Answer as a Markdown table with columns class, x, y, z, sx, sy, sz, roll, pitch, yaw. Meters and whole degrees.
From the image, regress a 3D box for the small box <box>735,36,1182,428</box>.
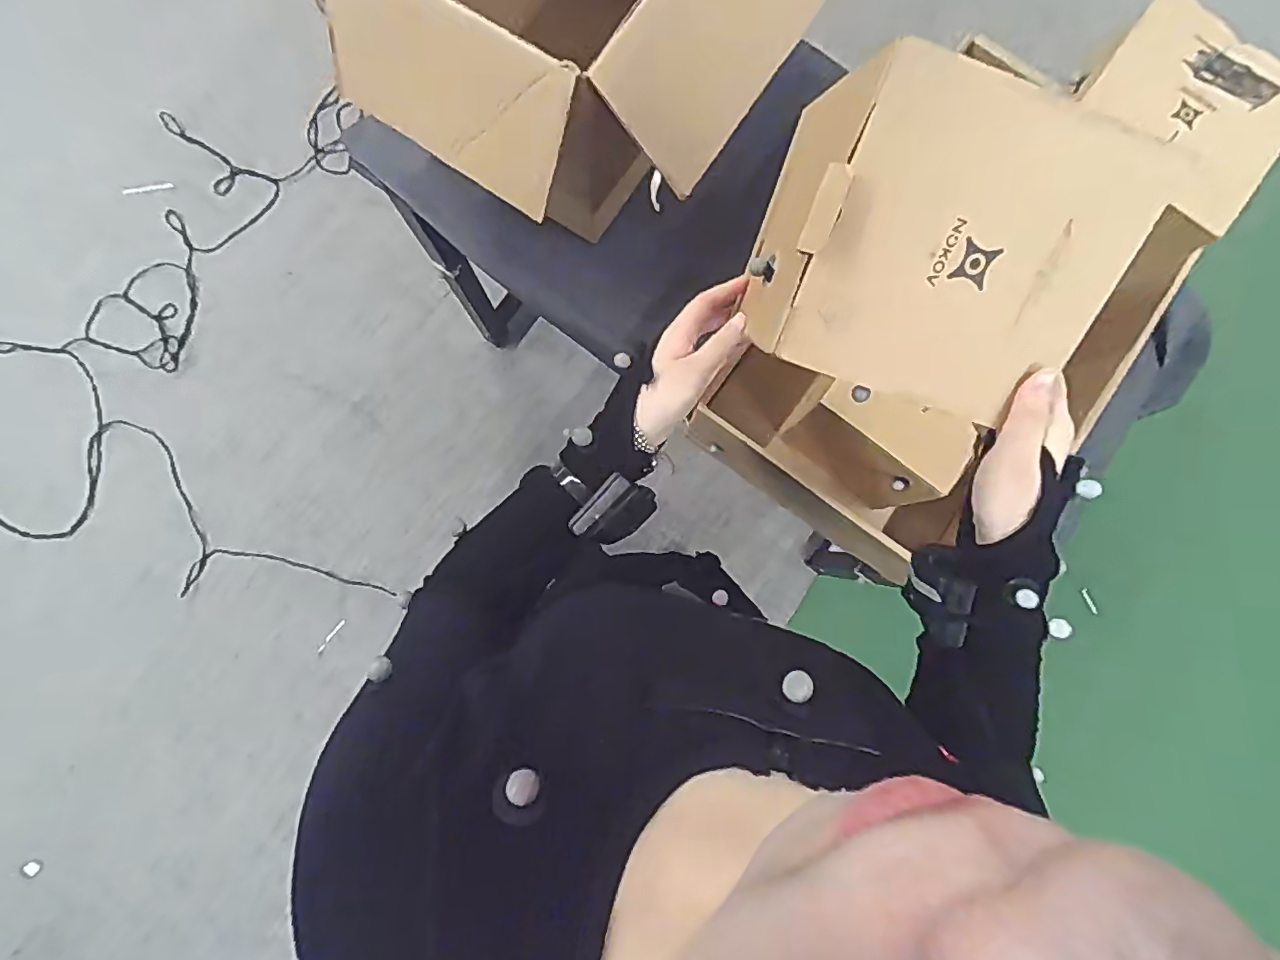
| class | x | y | z | sx | sy | sz | roll | pitch | yaw |
| --- | --- | --- | --- | --- | --- | --- | --- | --- | --- |
| small box | 0.180 | -0.158 | 0.378 | 0.179 | 0.176 | 0.168 | 15 | 115 | -7 |

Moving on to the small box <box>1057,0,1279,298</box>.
| class | x | y | z | sx | sy | sz | roll | pitch | yaw |
| --- | --- | --- | --- | --- | --- | --- | --- | --- | --- |
| small box | 0.474 | -0.312 | 0.549 | 0.168 | 0.176 | 0.179 | 37 | 86 | 3 |
